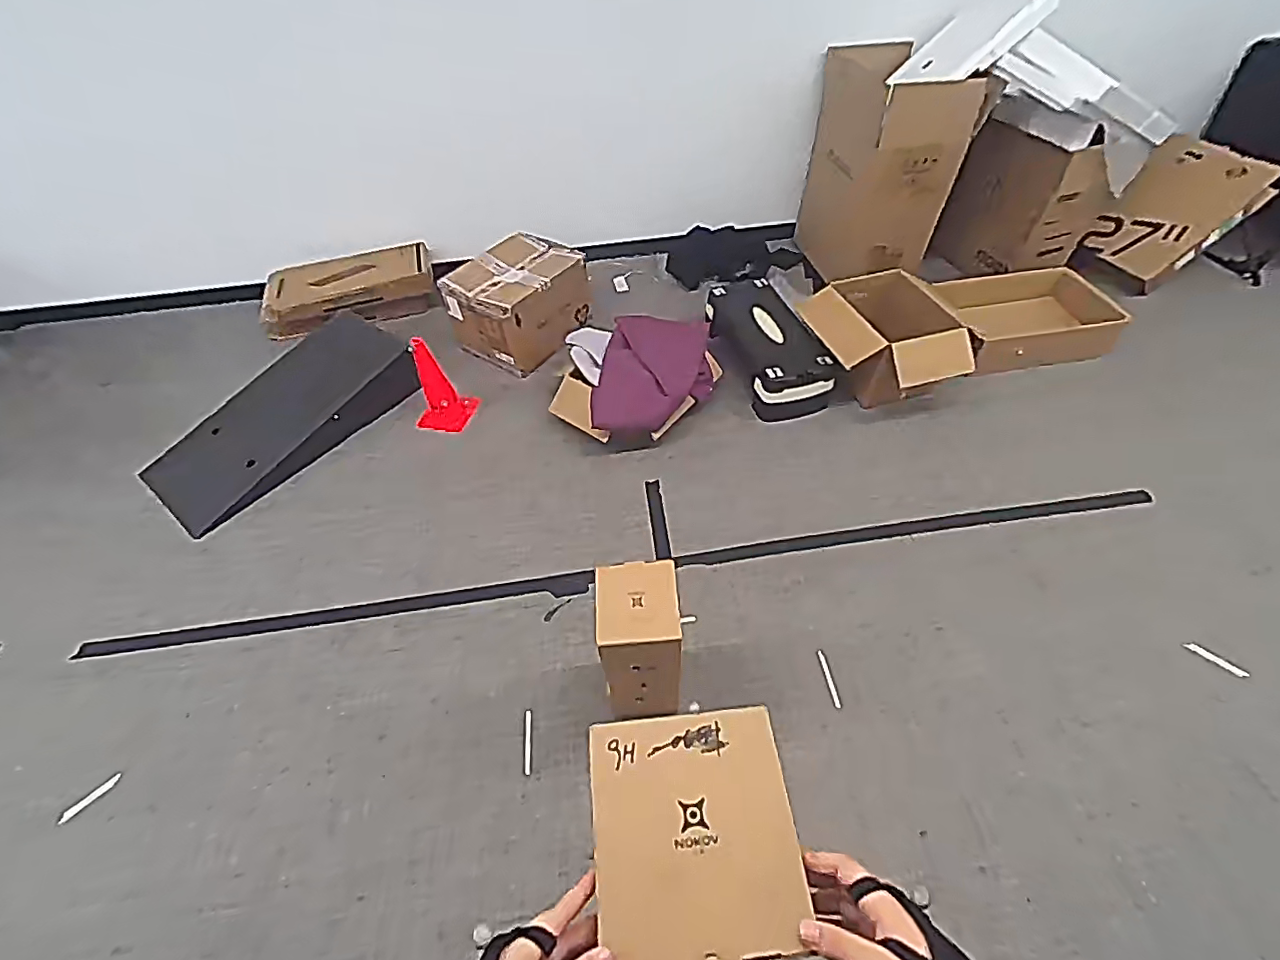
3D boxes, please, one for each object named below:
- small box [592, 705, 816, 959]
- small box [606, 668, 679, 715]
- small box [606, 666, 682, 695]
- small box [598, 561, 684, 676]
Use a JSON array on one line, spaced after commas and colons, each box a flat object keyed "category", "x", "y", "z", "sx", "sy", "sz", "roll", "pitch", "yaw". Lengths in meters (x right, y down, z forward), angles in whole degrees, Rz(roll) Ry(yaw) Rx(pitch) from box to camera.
[{"category": "small box", "x": 0.045, "y": 0.328, "z": 0.509, "sx": 0.168, "sy": 0.176, "sz": 0.179, "roll": -5, "pitch": 55, "yaw": -3}, {"category": "small box", "x": 0.008, "y": 0.492, "z": 1.388, "sx": 0.179, "sy": 0.176, "sz": 0.168, "roll": -4, "pitch": 51, "yaw": -1}, {"category": "small box", "x": 0.006, "y": 0.384, "z": 1.264, "sx": 0.168, "sy": 0.176, "sz": 0.179, "roll": -5, "pitch": 51, "yaw": 0}, {"category": "small box", "x": 0.001, "y": 0.291, "z": 1.129, "sx": 0.168, "sy": 0.176, "sz": 0.179, "roll": -5, "pitch": 52, "yaw": 0}]
